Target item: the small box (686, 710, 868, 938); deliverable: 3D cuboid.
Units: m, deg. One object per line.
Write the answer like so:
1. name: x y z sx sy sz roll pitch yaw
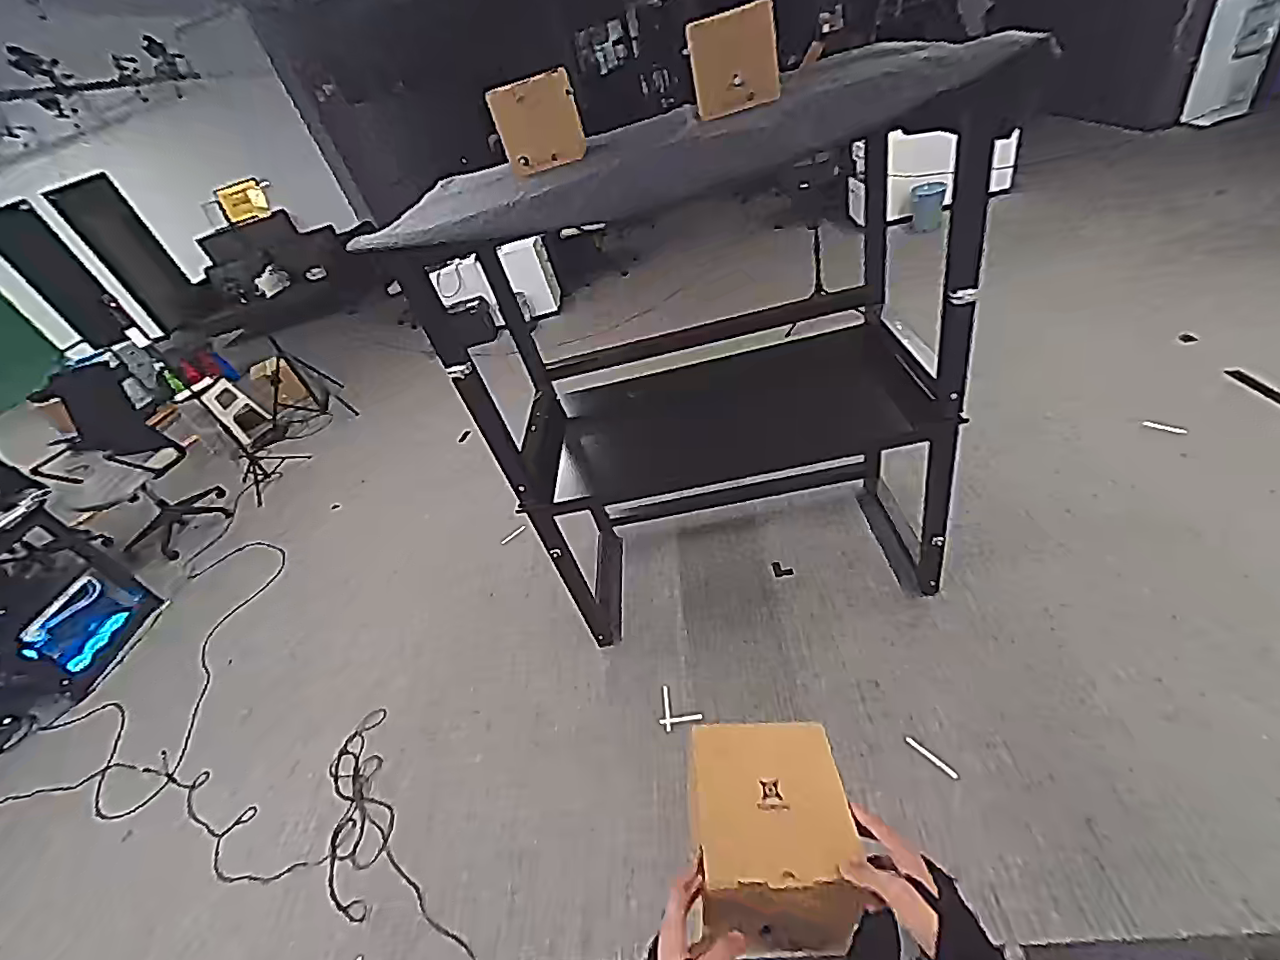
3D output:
1. small box: 0.144 0.403 0.643 0.168 0.176 0.179 -2 32 0

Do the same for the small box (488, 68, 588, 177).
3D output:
1. small box: -0.227 -0.826 1.257 0.168 0.176 0.179 -11 38 9

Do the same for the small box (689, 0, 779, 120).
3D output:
1. small box: 0.201 -0.905 1.172 0.168 0.176 0.179 -11 39 12
